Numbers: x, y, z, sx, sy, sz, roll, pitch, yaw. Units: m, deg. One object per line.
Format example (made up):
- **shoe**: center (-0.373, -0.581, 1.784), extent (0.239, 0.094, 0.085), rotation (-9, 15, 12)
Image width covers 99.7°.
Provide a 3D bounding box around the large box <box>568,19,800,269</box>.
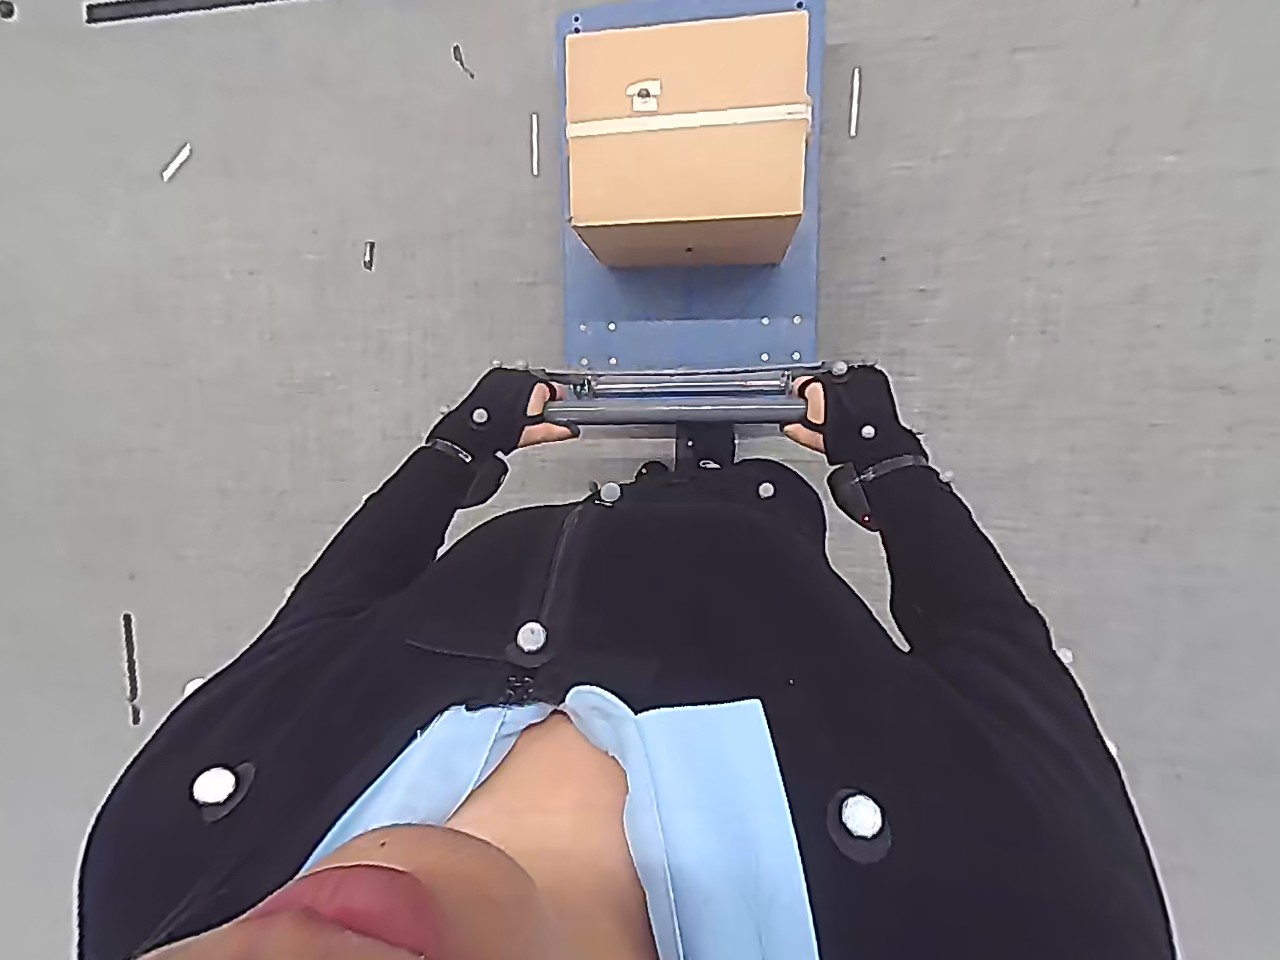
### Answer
- **large box**: center (0.097, -0.626, 1.084), extent (0.408, 0.320, 0.320), rotation (0, 97, 9)
